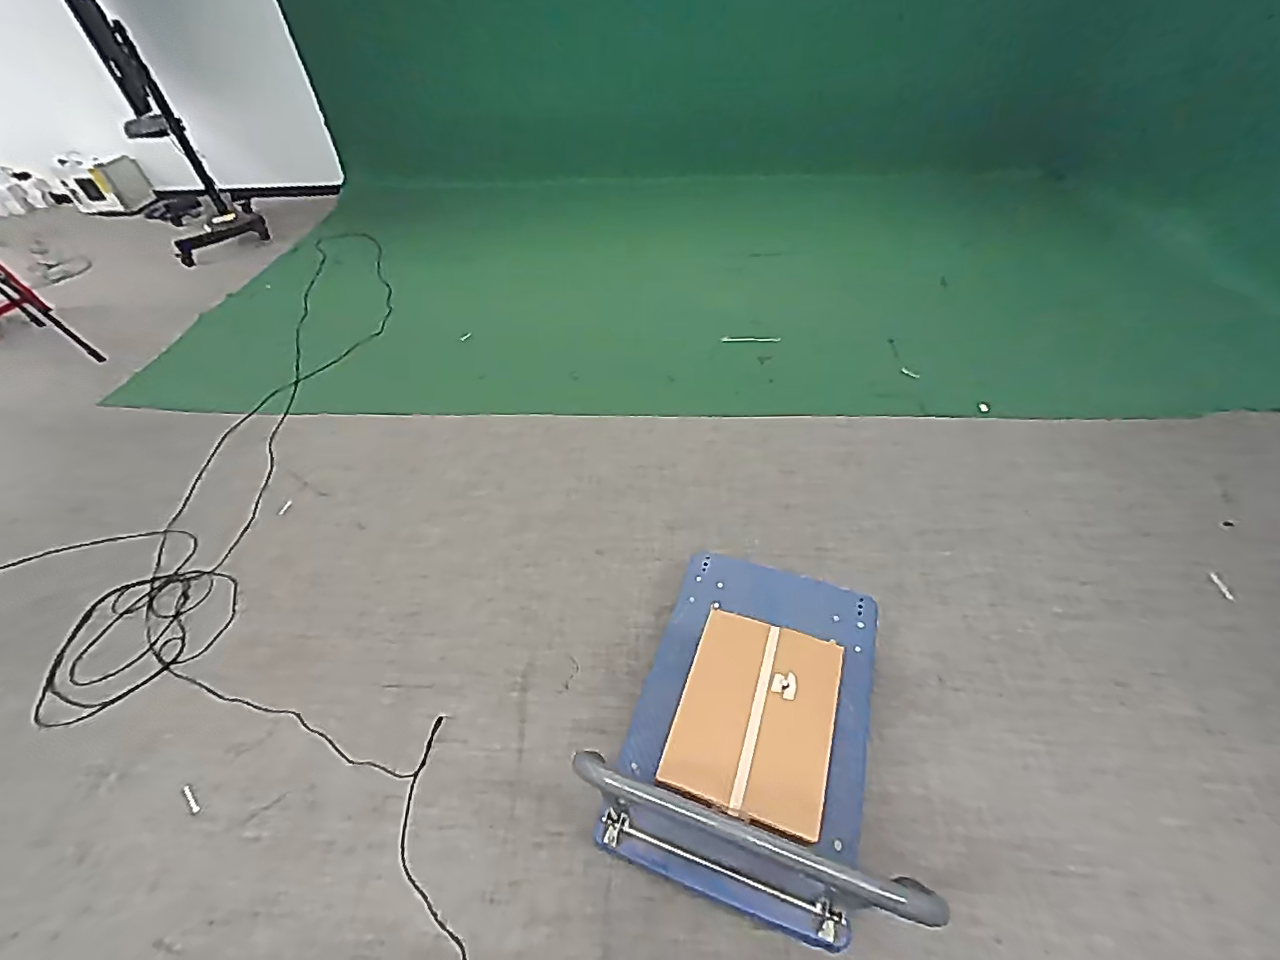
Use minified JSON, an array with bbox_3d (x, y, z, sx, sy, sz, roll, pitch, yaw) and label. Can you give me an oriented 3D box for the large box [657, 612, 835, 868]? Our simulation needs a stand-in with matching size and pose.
[{"bbox_3d":[0.248,0.593,1.259,0.320,0.320,0.408,14,47,16],"label":"large box"}]
